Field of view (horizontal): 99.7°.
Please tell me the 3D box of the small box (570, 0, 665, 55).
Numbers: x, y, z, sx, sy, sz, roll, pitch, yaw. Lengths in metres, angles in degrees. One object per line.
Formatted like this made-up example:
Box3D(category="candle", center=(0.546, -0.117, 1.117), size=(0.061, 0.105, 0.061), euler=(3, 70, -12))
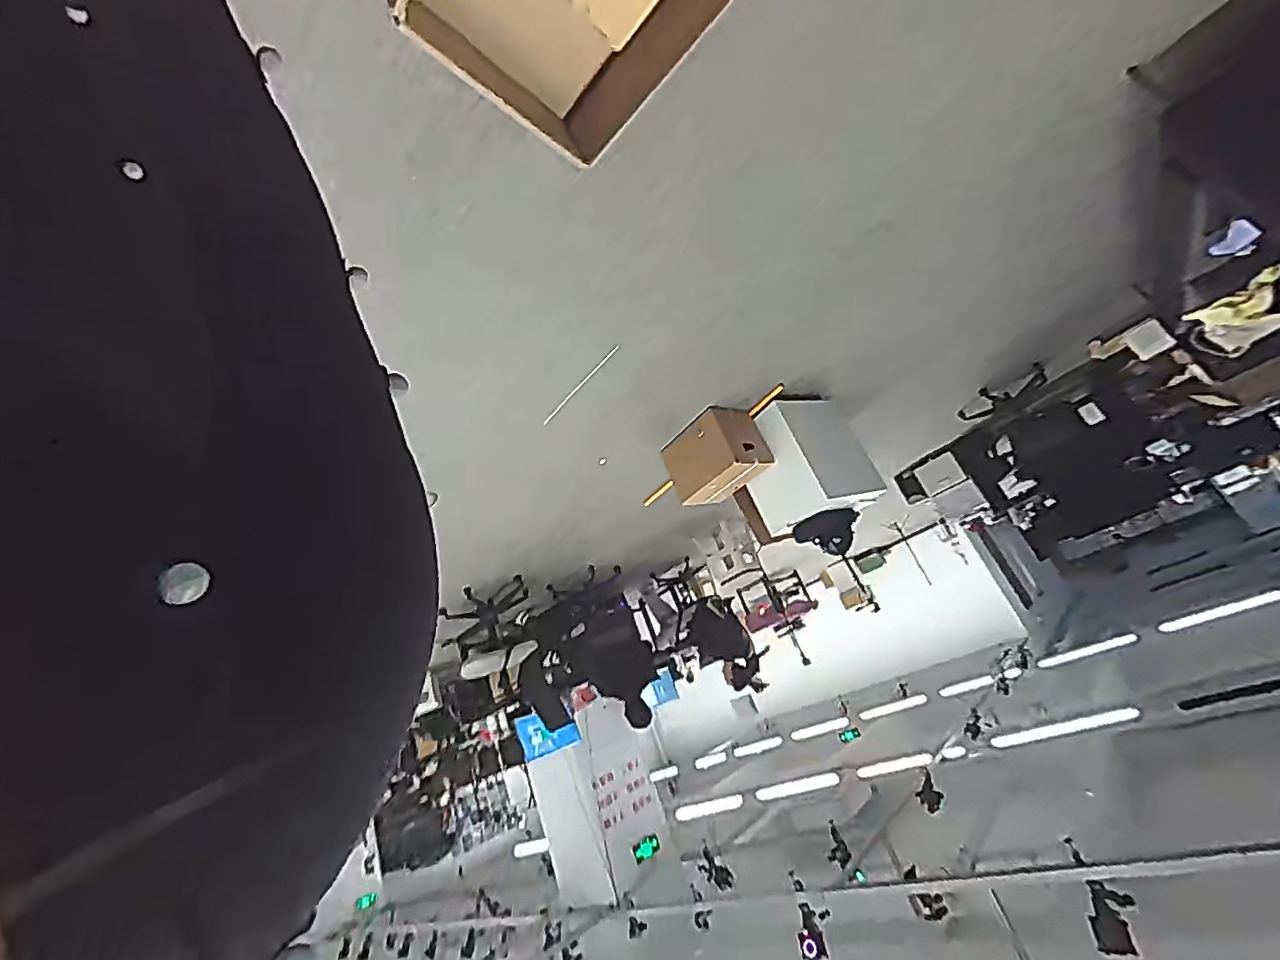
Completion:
Box3D(category="small box", center=(-0.047, -0.780, 0.765), size=(0.179, 0.176, 0.168), euler=(-36, 155, 30))
